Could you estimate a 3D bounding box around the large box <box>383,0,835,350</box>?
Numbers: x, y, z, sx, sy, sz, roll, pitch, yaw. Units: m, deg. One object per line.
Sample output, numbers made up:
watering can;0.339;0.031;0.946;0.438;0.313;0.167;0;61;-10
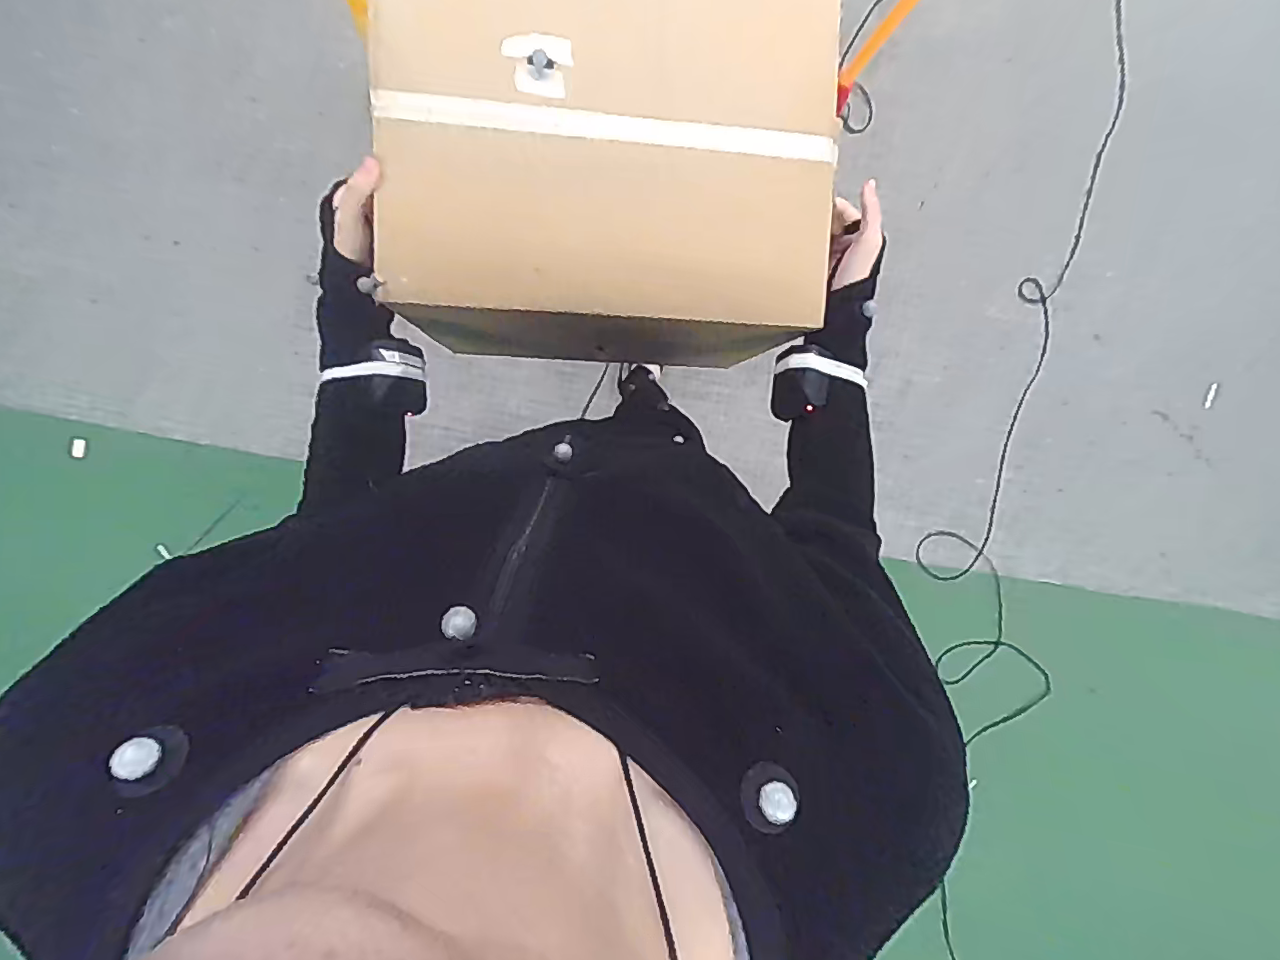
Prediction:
large box;-0.037;-0.328;0.630;0.408;0.320;0.320;1;95;-7
